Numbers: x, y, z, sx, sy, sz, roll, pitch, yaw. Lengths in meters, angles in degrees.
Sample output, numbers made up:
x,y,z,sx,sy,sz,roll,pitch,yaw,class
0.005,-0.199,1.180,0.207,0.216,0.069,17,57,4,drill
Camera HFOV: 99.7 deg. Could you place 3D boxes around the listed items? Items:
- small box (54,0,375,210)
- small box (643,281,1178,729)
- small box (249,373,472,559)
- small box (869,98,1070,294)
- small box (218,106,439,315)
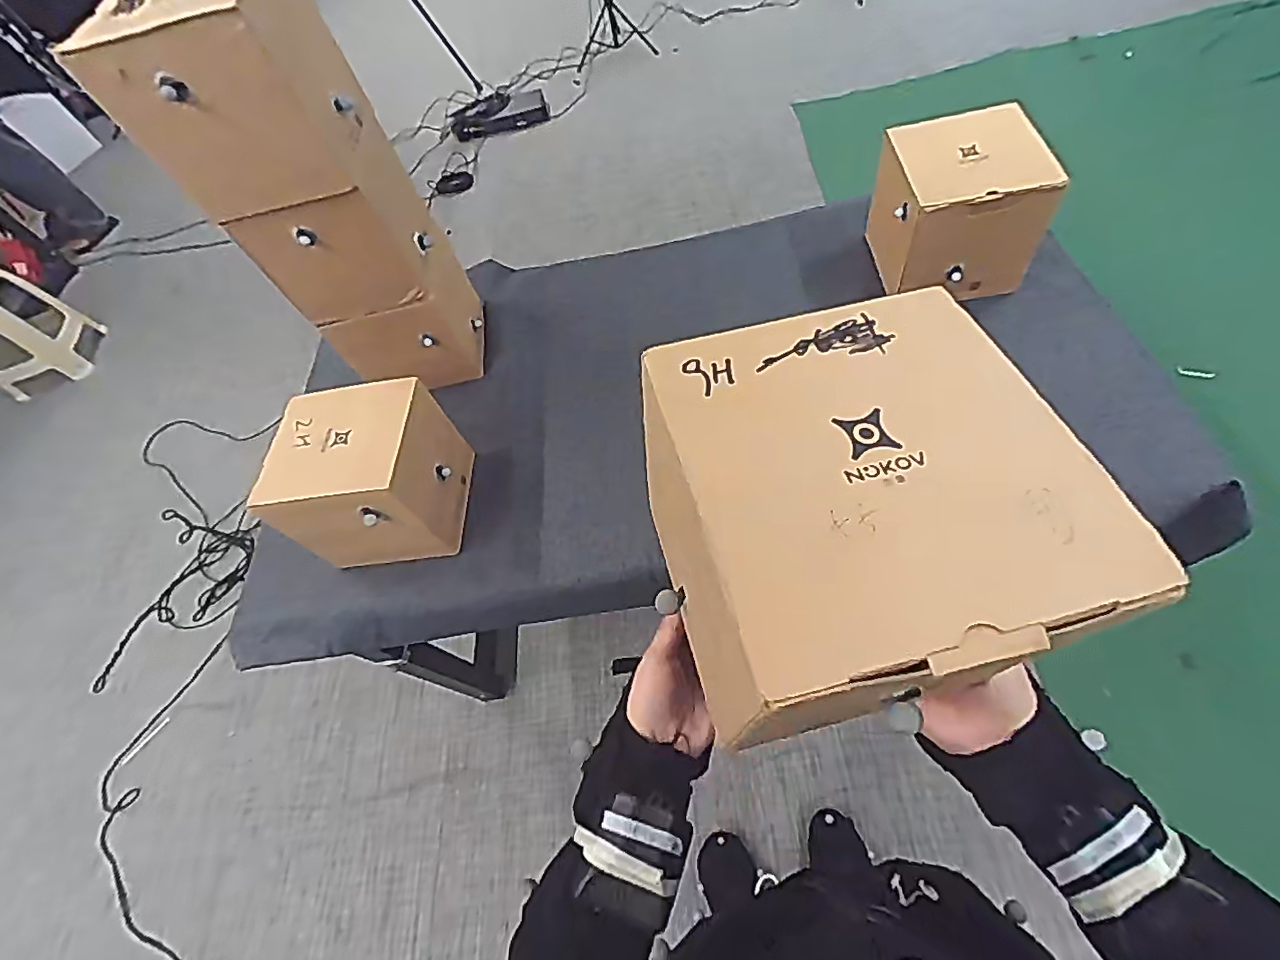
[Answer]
x,y,z,sx,sy,sz,roll,pitch,yaw,class
-0.415,-0.414,0.565,0.179,0.176,0.168,-10,61,5,small box
0.104,0.027,0.301,0.168,0.176,0.179,-14,60,-5,small box
-0.336,-0.010,0.694,0.179,0.176,0.168,-7,57,8,small box
0.429,-0.377,0.744,0.168,0.176,0.179,-7,61,9,small box
-0.391,-0.343,0.711,0.179,0.176,0.168,-12,61,4,small box
